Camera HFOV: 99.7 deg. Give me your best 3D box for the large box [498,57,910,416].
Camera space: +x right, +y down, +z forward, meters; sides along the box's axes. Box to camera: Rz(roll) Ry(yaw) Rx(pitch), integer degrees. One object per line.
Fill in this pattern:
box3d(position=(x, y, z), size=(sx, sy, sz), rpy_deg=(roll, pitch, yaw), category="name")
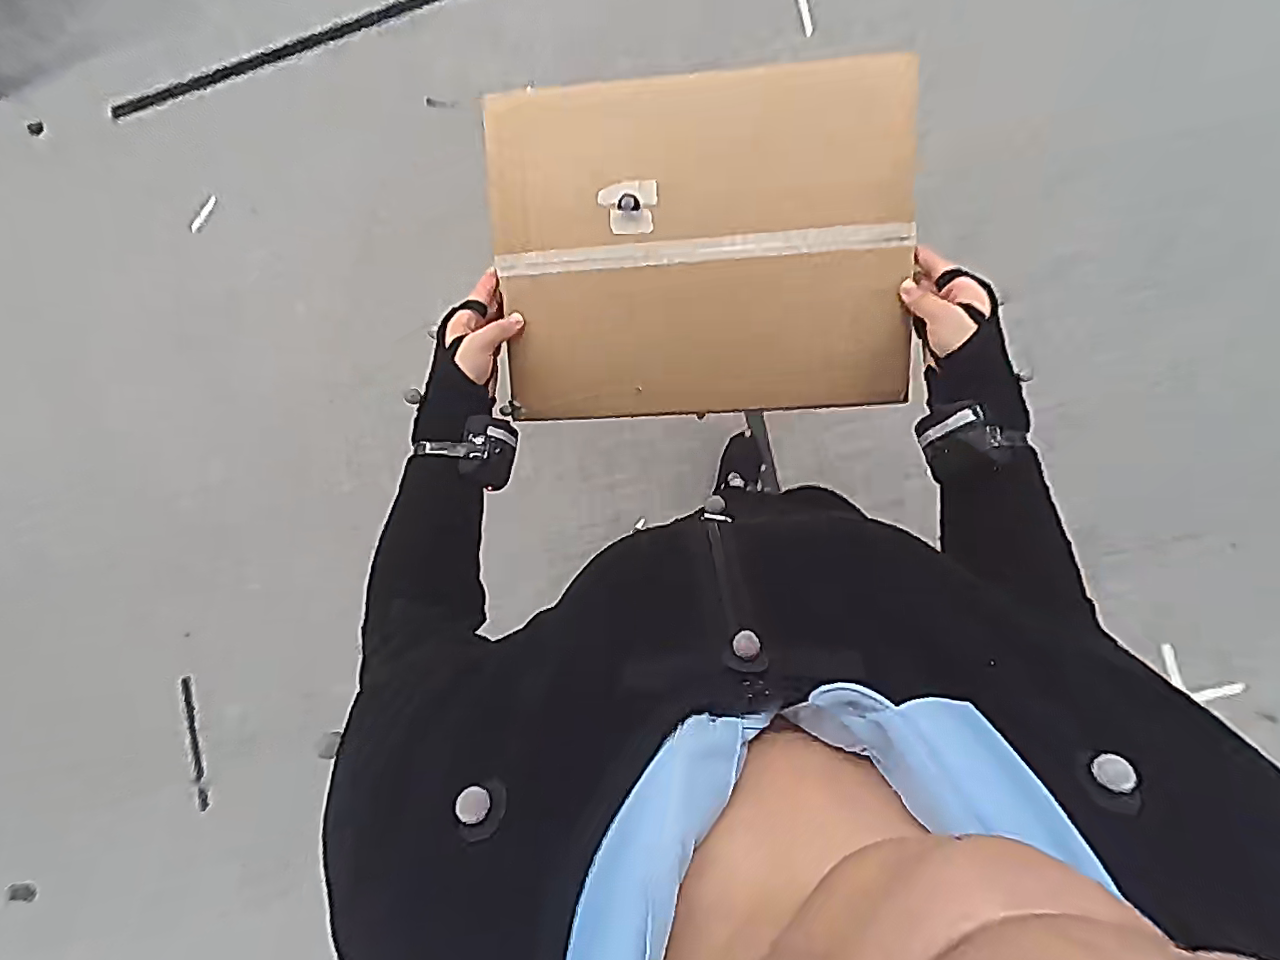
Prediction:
box3d(position=(0.079, -0.257, 0.689), size=(0.408, 0.320, 0.320), rpy_deg=(-2, 99, 5), category="large box")
